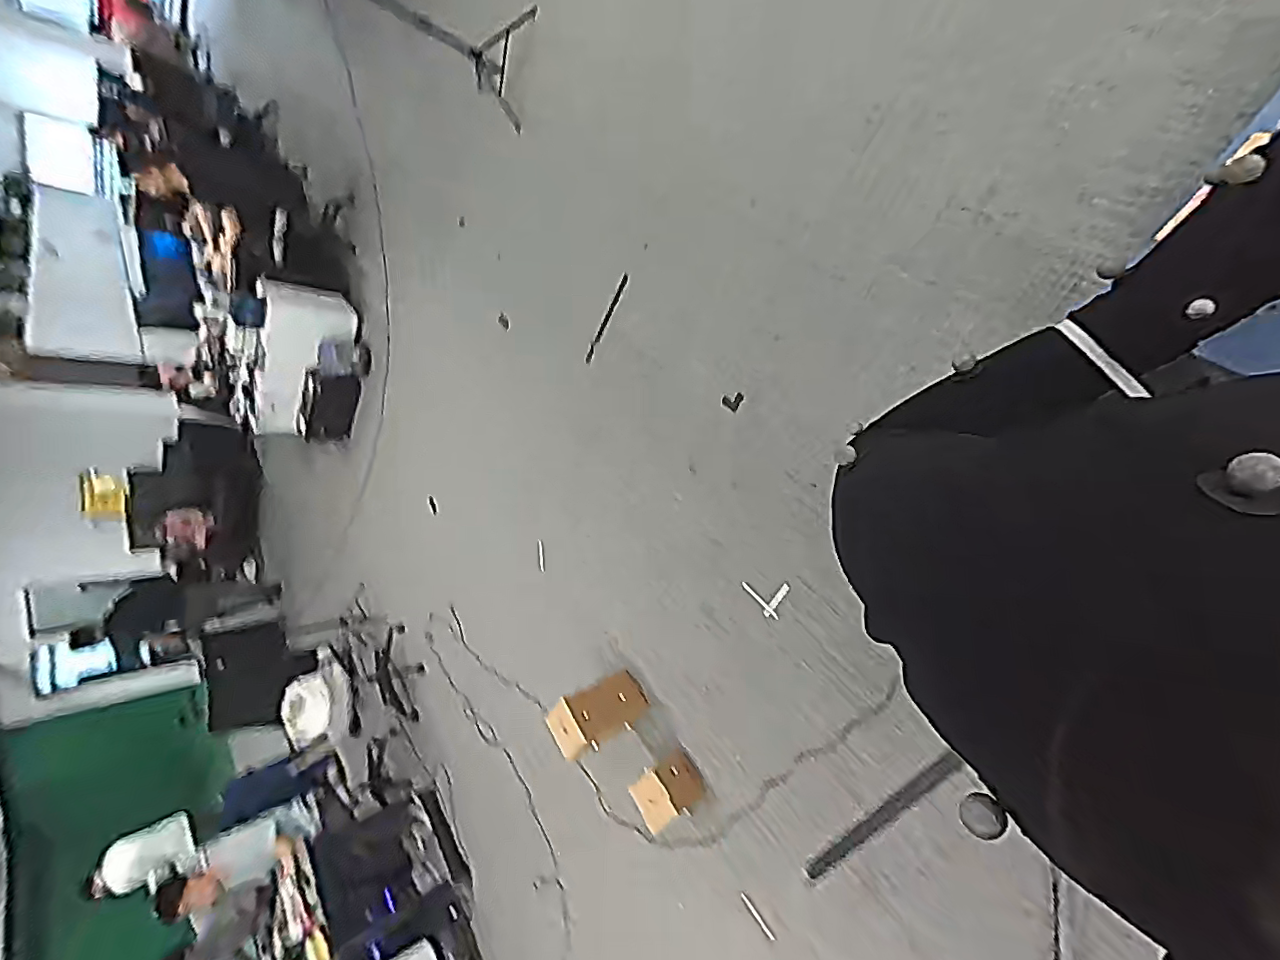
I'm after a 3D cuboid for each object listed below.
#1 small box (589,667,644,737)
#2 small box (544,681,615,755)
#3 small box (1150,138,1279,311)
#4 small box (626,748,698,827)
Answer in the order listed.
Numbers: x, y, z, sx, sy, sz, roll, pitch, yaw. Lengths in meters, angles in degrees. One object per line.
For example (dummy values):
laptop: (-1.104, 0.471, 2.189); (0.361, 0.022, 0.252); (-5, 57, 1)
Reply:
small box: (-0.116, 0.878, 2.156); (0.179, 0.176, 0.168); (50, 123, 30)
small box: (-0.224, 0.888, 2.031); (0.179, 0.176, 0.168); (53, 125, 29)
small box: (0.949, -0.380, 0.834); (0.179, 0.176, 0.168); (52, 123, 30)
small box: (0.089, 1.116, 1.973); (0.168, 0.176, 0.179); (54, 126, 29)
